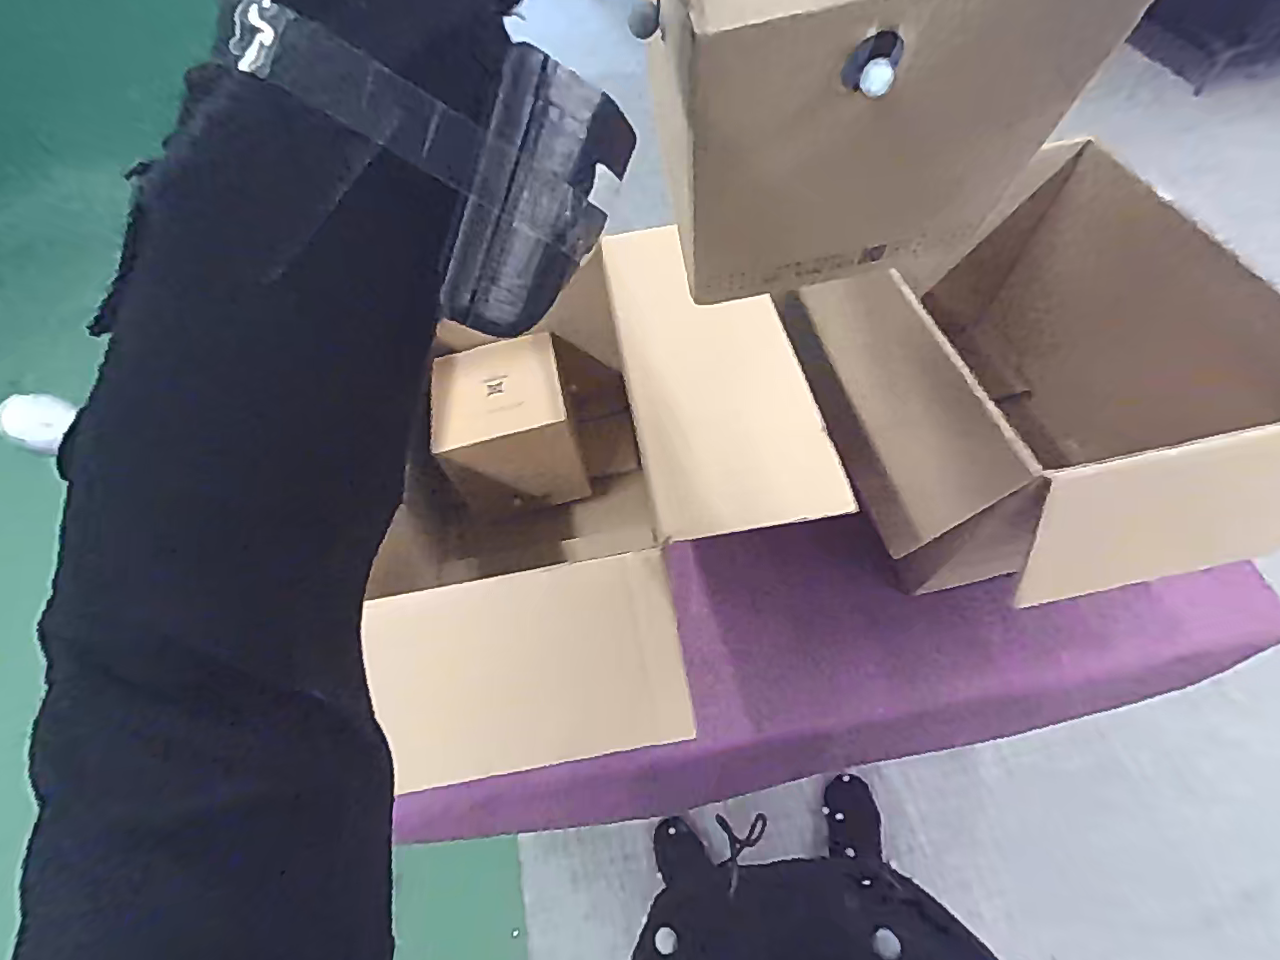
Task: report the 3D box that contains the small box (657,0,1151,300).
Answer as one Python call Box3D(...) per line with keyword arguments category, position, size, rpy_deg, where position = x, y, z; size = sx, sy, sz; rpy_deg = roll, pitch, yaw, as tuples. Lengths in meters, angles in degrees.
Box3D(category="small box", position=(0.099, -0.225, 0.280), size=(0.168, 0.176, 0.179), rpy_deg=(-10, 76, 4))
